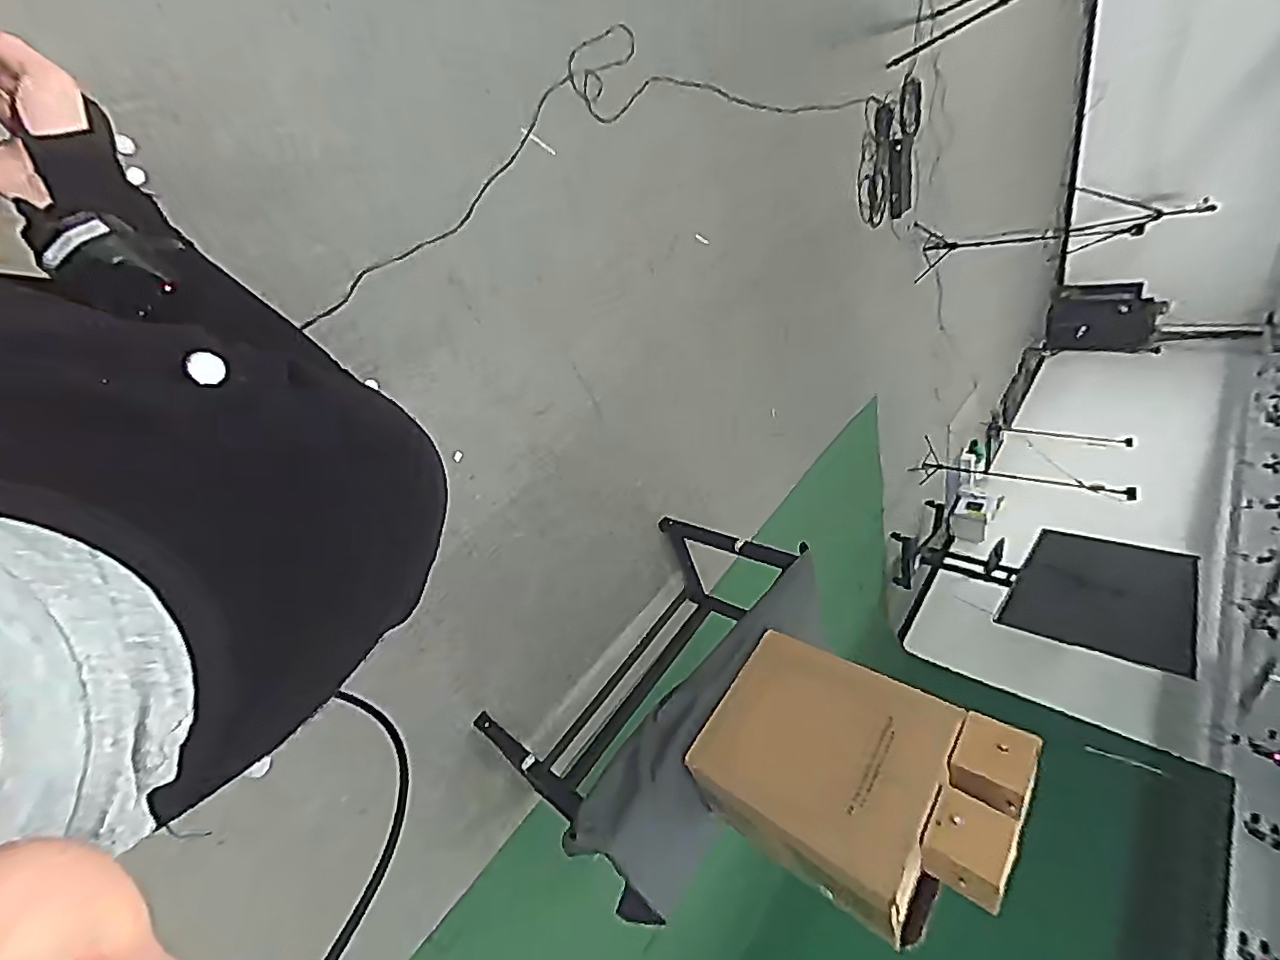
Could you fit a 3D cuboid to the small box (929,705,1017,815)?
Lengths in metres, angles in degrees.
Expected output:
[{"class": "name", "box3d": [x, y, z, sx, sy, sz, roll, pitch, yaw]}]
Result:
[{"class": "small box", "box3d": [0.909, 0.755, 1.479, 0.179, 0.176, 0.168, -40, 125, -35]}]
